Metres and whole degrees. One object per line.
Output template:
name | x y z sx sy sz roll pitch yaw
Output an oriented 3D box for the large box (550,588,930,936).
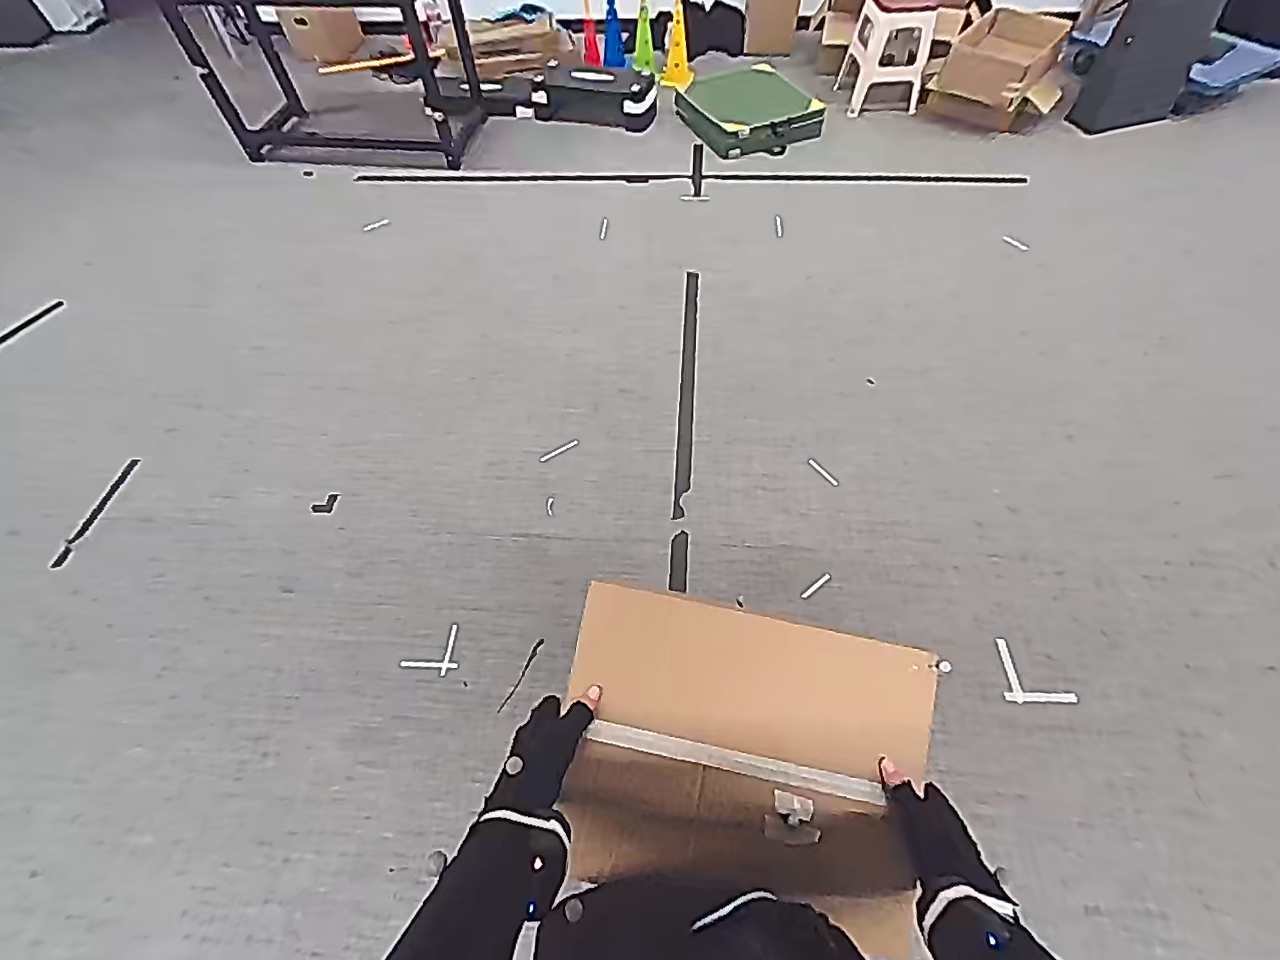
large box | 0.120 0.339 0.764 0.408 0.320 0.320 11 82 3
